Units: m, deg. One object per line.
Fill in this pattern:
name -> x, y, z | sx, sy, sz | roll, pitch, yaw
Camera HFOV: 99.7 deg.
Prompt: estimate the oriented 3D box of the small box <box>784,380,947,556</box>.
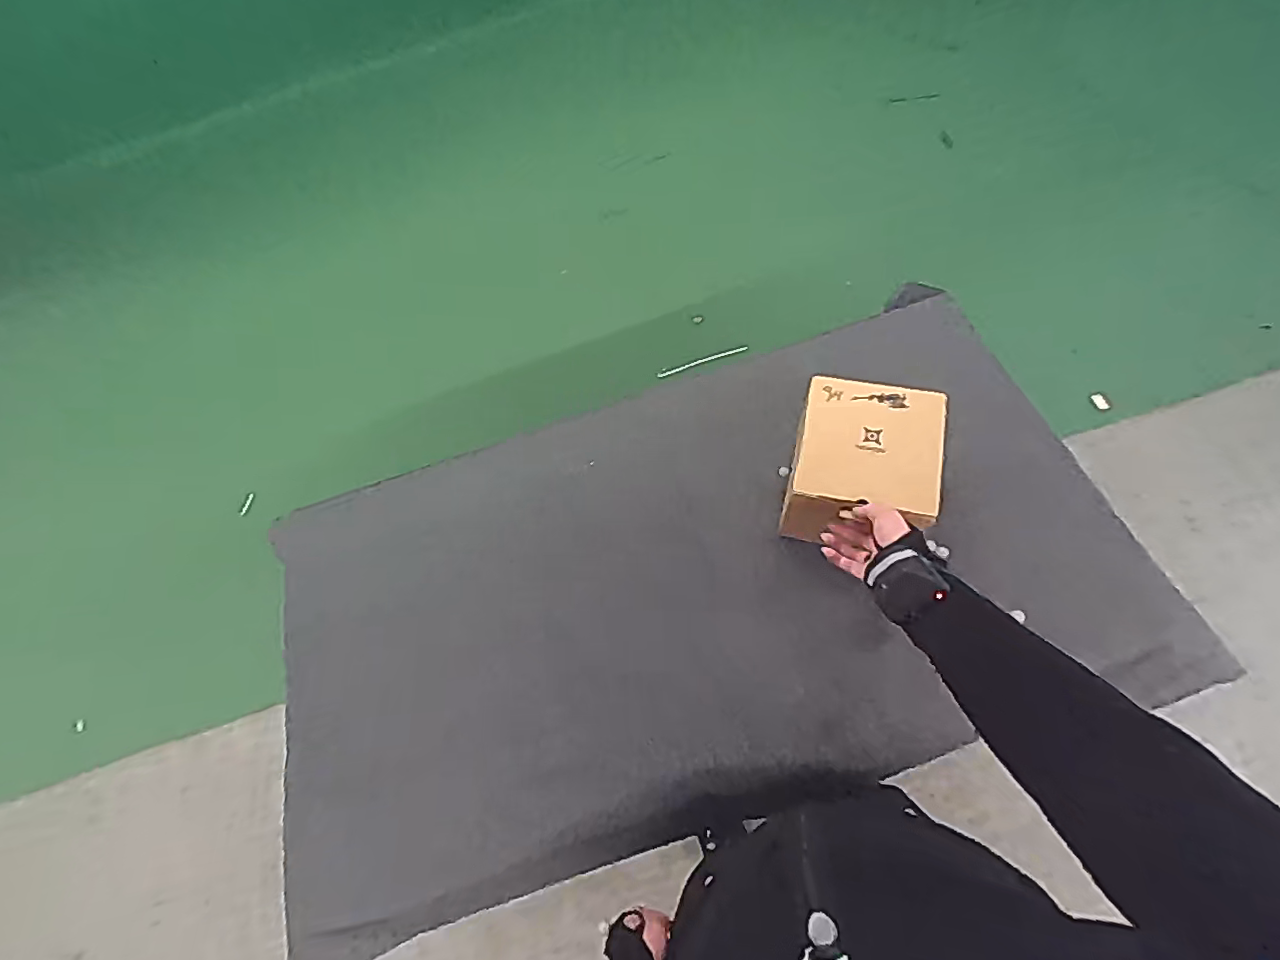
small box -> 0.300, -0.009, 0.746 | 0.168, 0.176, 0.179 | 12, 69, 13
